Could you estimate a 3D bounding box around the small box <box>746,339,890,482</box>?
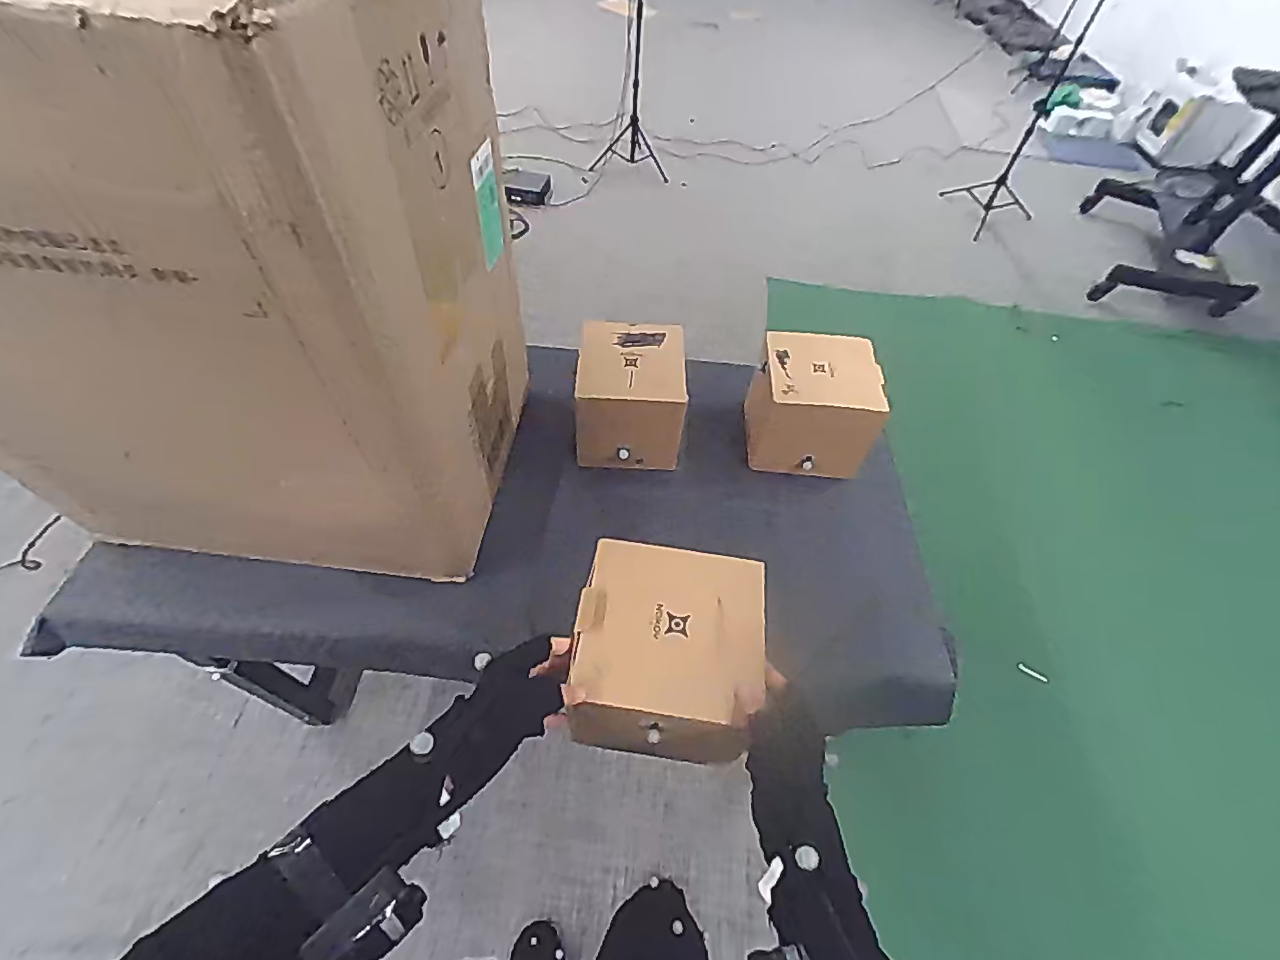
[{"bbox_3d":[0.287,-0.112,0.914,0.179,0.176,0.168,6,53,0],"label":"small box"}]
